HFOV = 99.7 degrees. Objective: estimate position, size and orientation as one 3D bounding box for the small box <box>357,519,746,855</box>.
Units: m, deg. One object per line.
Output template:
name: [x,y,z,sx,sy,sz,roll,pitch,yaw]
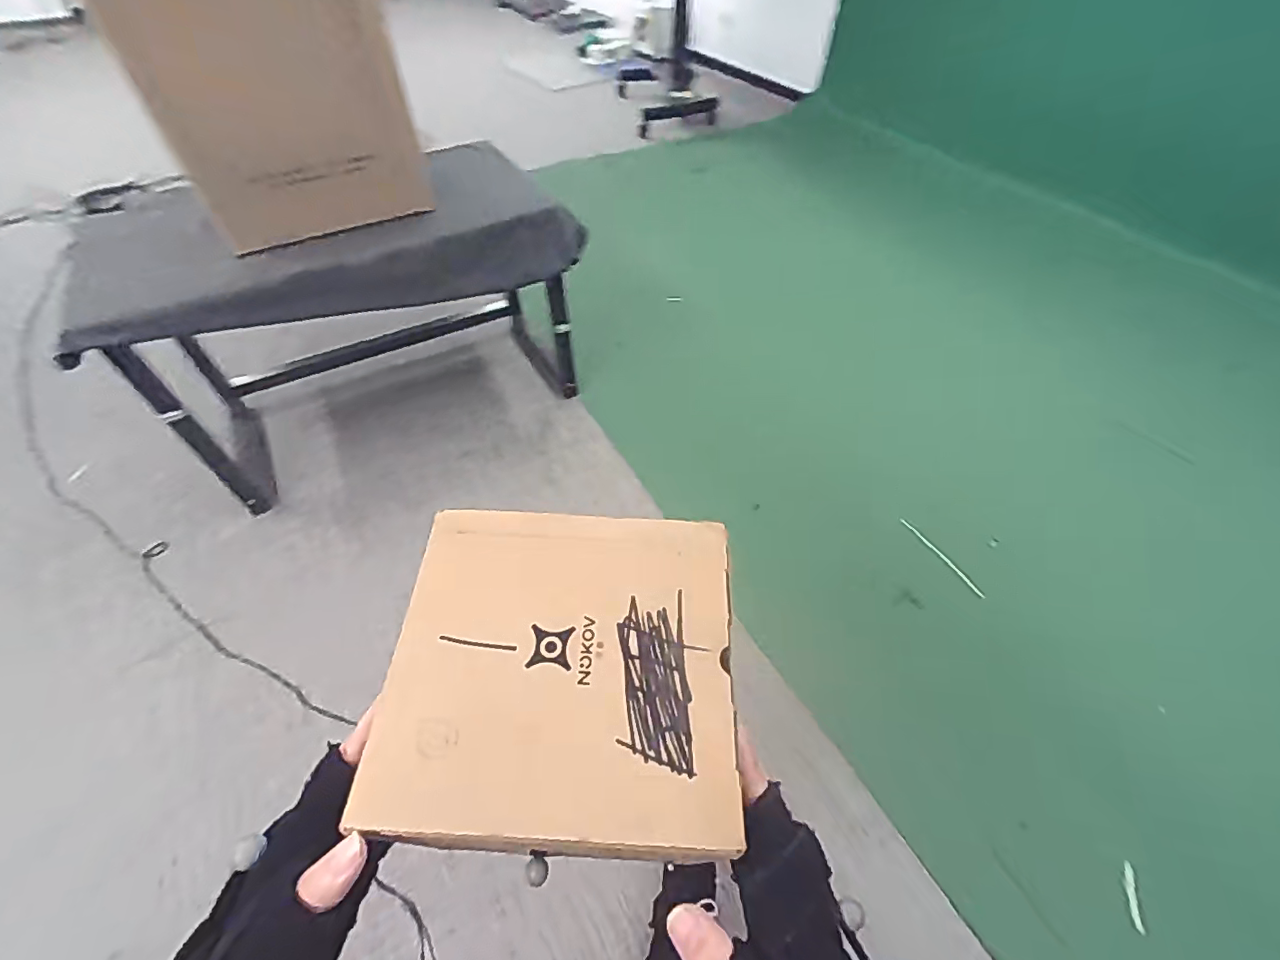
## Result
small box: [-0.044,0.140,0.351,0.179,0.176,0.168,2,54,-4]
